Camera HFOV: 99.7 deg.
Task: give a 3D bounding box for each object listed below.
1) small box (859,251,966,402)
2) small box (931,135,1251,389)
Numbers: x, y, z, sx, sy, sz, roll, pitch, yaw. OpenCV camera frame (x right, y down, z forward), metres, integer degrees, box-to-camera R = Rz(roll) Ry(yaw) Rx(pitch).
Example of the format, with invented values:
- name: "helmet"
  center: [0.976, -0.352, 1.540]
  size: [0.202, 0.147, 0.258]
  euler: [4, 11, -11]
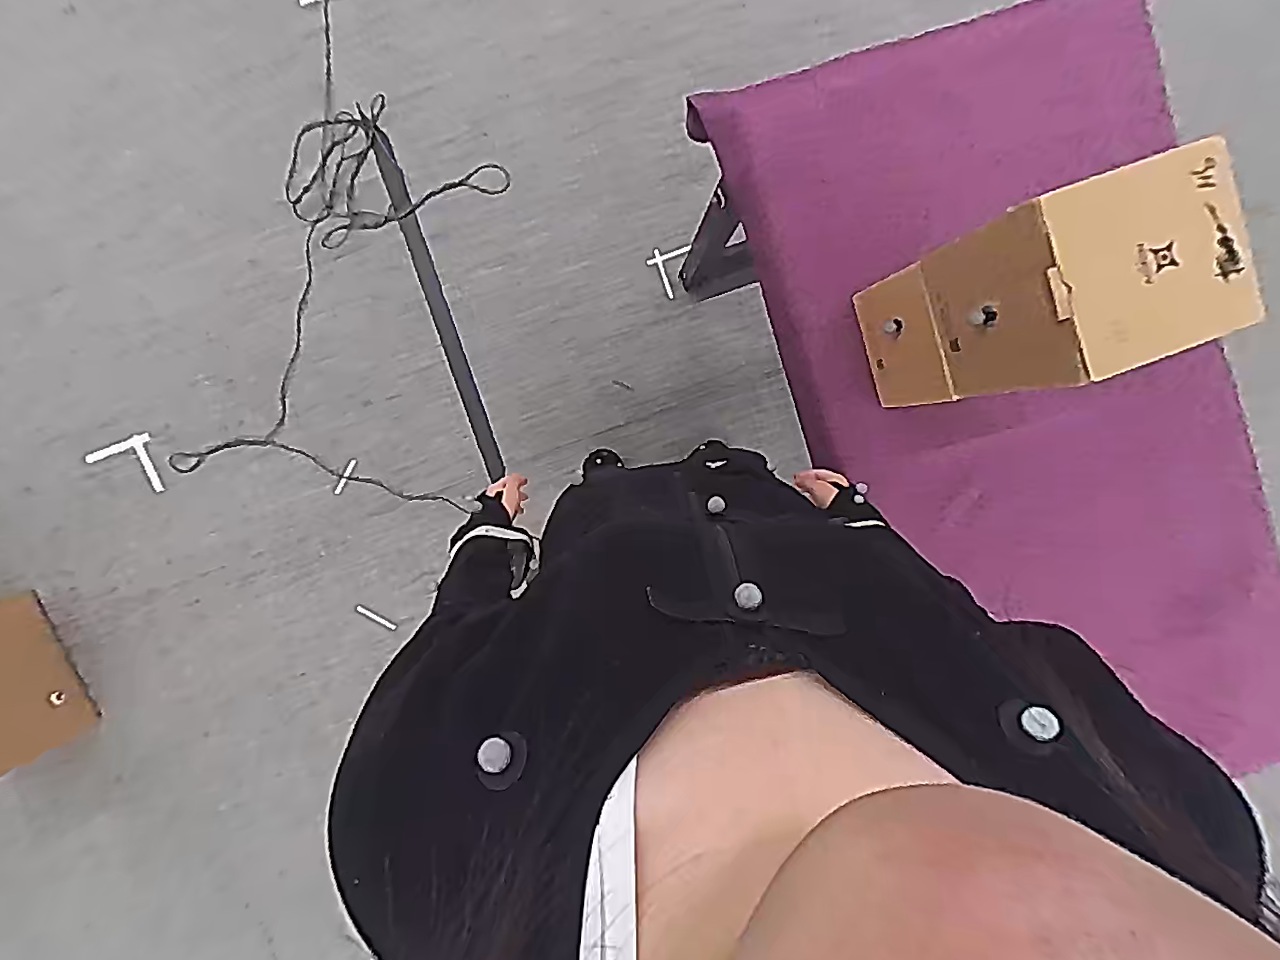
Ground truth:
- name: "small box"
  center: [0.412, -0.207, 0.710]
  size: [0.179, 0.176, 0.168]
  euler: [-18, 96, -3]
- name: "small box"
  center: [0.428, -0.198, 0.547]
  size: [0.179, 0.176, 0.168]
  euler: [-19, 96, -2]
